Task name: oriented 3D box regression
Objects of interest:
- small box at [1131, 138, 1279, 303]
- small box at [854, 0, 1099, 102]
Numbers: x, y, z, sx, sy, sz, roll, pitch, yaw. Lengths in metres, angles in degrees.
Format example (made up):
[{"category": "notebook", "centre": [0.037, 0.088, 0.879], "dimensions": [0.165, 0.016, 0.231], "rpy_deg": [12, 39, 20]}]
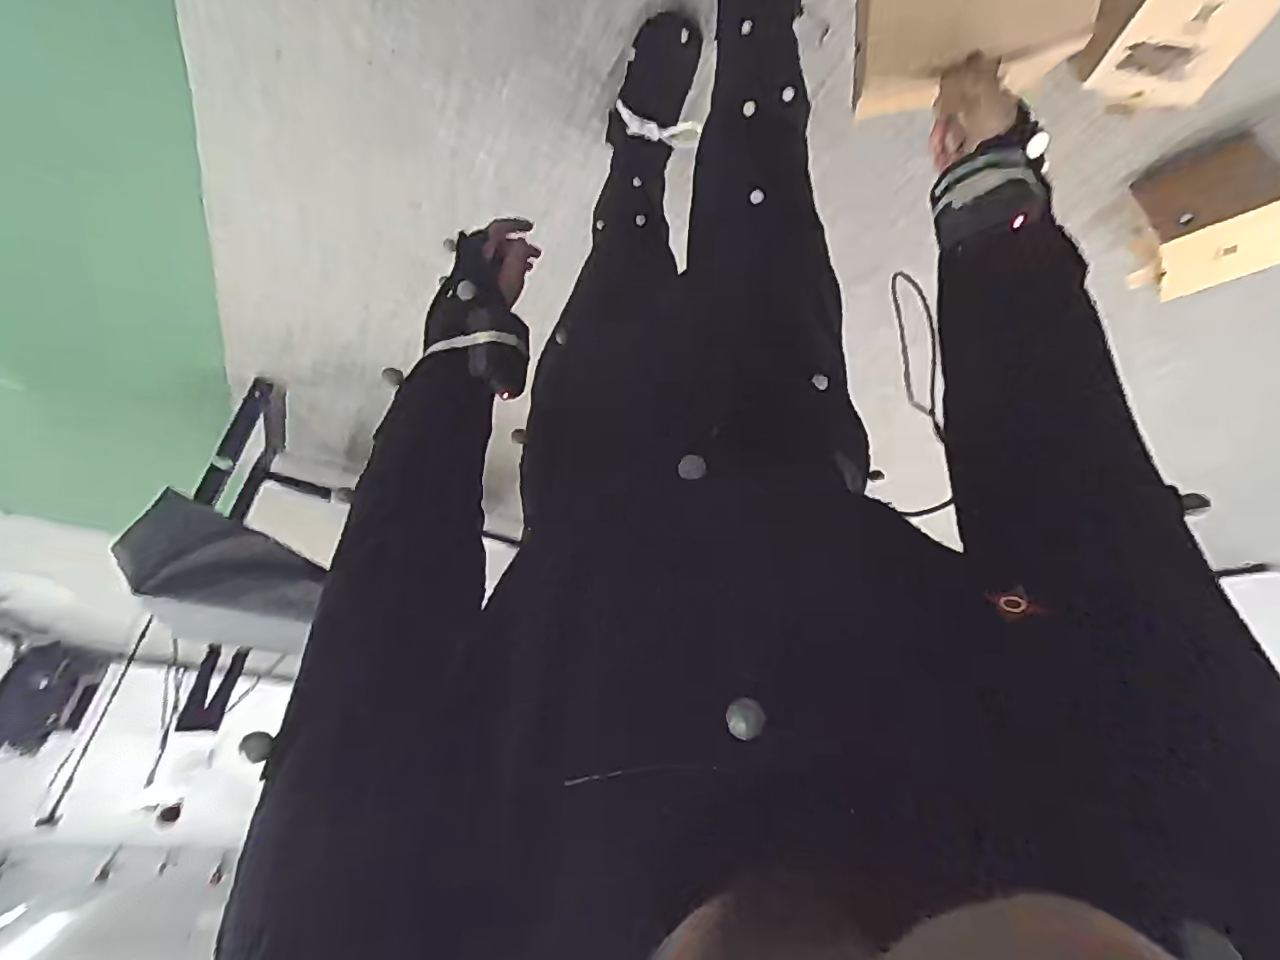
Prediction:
[{"category": "small box", "centre": [1.035, -0.467, 0.981], "dimensions": [0.179, 0.176, 0.168], "rpy_deg": [-18, 145, 35]}, {"category": "small box", "centre": [0.283, -0.456, 0.473], "dimensions": [0.168, 0.176, 0.179], "rpy_deg": [0, 112, 17]}]
